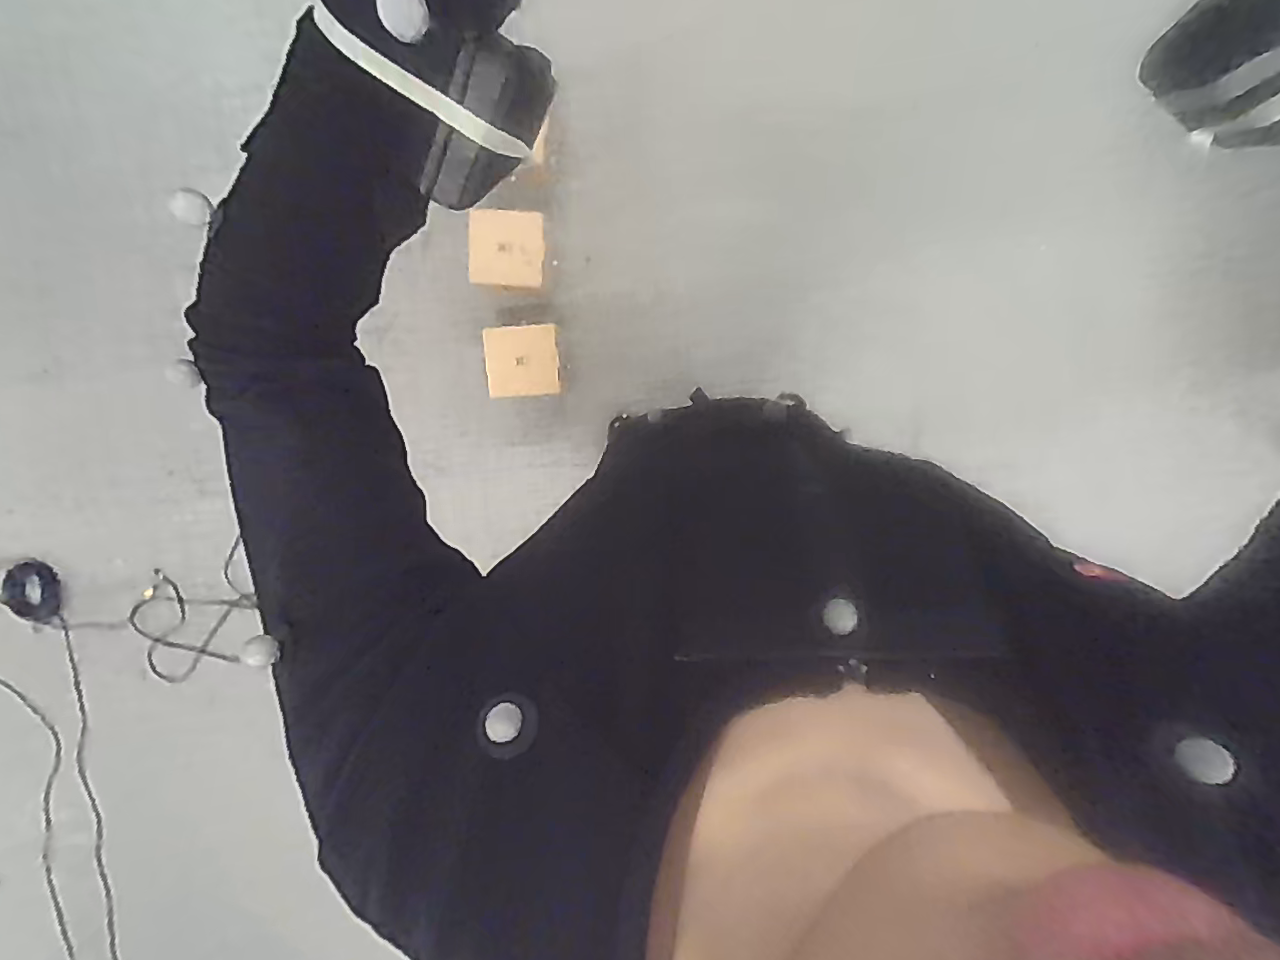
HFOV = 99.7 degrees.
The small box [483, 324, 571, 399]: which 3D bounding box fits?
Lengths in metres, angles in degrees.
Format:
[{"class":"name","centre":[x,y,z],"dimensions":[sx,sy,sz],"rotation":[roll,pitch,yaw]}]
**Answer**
[{"class":"small box","centre":[-0.278,-0.293,1.364],"dimensions":[0.179,0.176,0.168],"rotation":[-4,97,2]}]

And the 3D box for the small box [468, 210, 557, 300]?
[{"class":"small box","centre":[-0.308,-0.546,1.329],"dimensions":[0.179,0.176,0.168],"rotation":[3,98,0]}]
